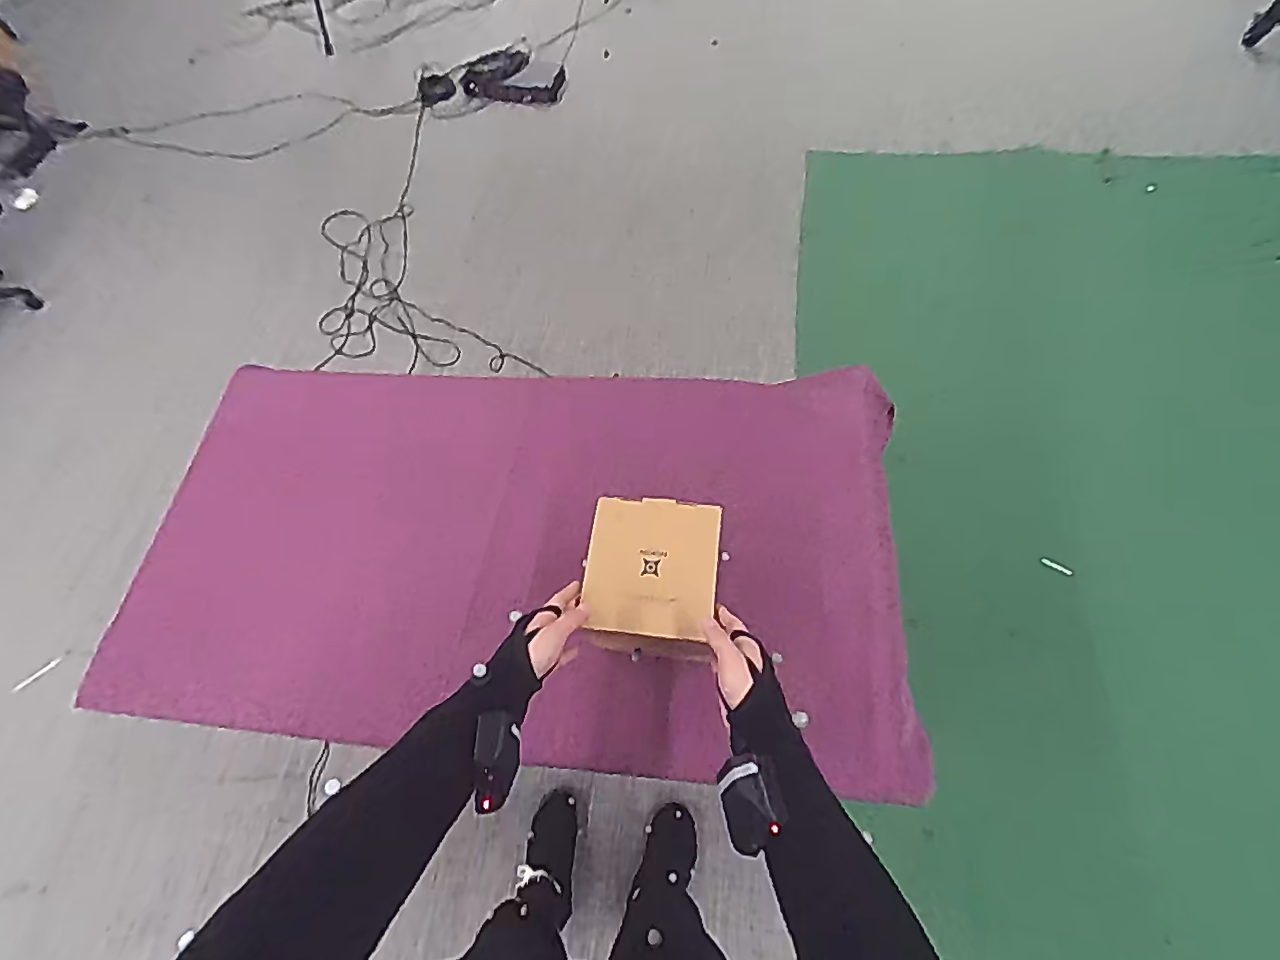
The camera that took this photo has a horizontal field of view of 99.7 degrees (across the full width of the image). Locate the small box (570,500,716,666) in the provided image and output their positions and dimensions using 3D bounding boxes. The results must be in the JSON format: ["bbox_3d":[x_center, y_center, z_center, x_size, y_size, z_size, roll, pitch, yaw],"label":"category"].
[{"bbox_3d":[0.014,0.147,0.747,0.168,0.176,0.179,4,64,9],"label":"small box"}]
